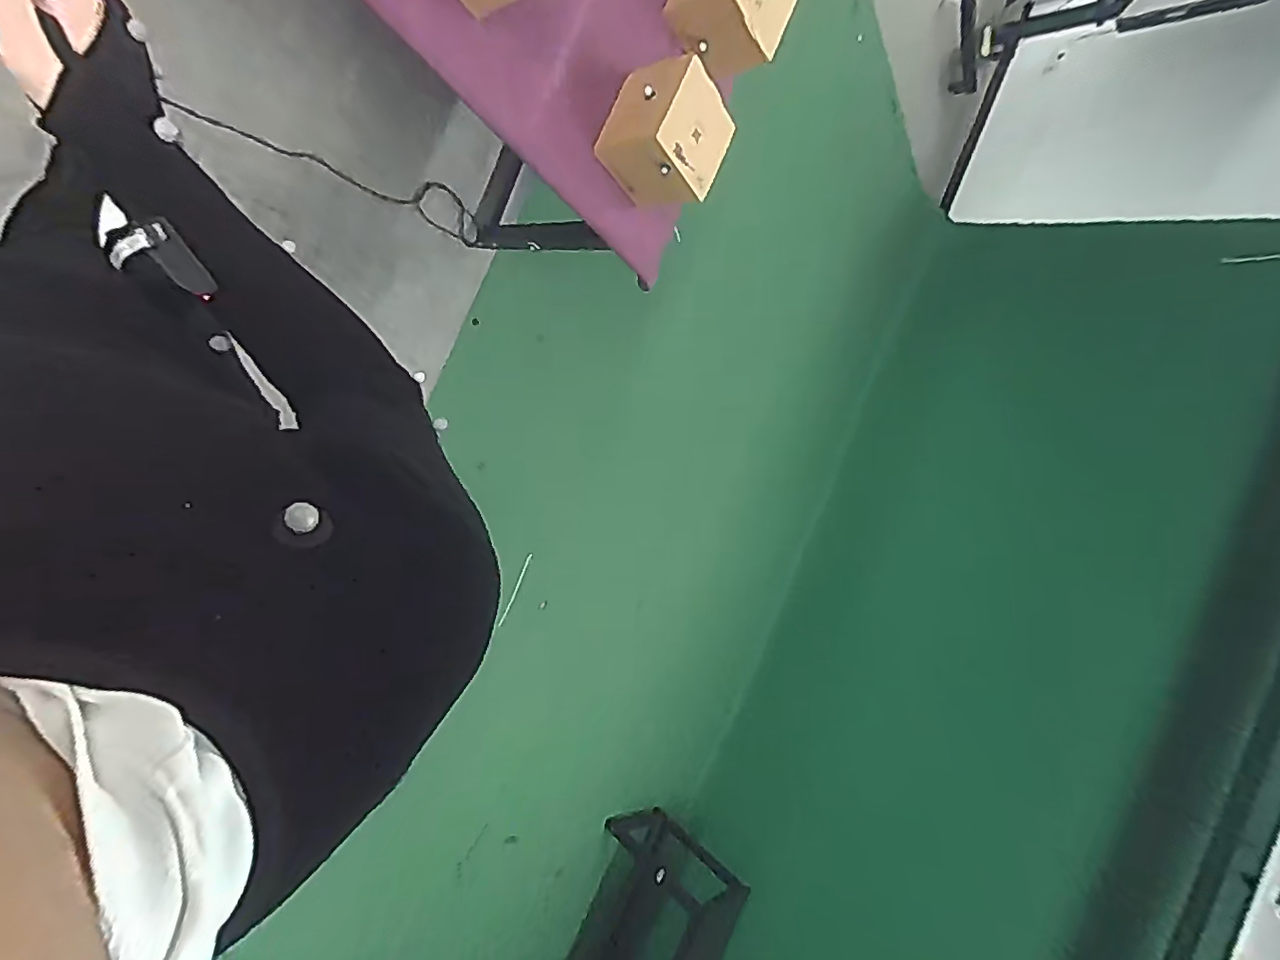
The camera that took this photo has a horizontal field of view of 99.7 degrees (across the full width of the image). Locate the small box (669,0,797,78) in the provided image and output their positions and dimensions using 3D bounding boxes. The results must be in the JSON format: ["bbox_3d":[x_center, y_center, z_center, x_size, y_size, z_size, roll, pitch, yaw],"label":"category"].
[{"bbox_3d":[0.184,-0.945,1.062,0.168,0.176,0.179,24,89,-47],"label":"small box"}]

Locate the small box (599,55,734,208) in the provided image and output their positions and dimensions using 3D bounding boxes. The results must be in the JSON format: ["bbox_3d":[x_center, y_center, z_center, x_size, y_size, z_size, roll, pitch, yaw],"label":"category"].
[{"bbox_3d":[0.049,-0.658,1.044,0.168,0.176,0.179,29,82,-49],"label":"small box"}]
